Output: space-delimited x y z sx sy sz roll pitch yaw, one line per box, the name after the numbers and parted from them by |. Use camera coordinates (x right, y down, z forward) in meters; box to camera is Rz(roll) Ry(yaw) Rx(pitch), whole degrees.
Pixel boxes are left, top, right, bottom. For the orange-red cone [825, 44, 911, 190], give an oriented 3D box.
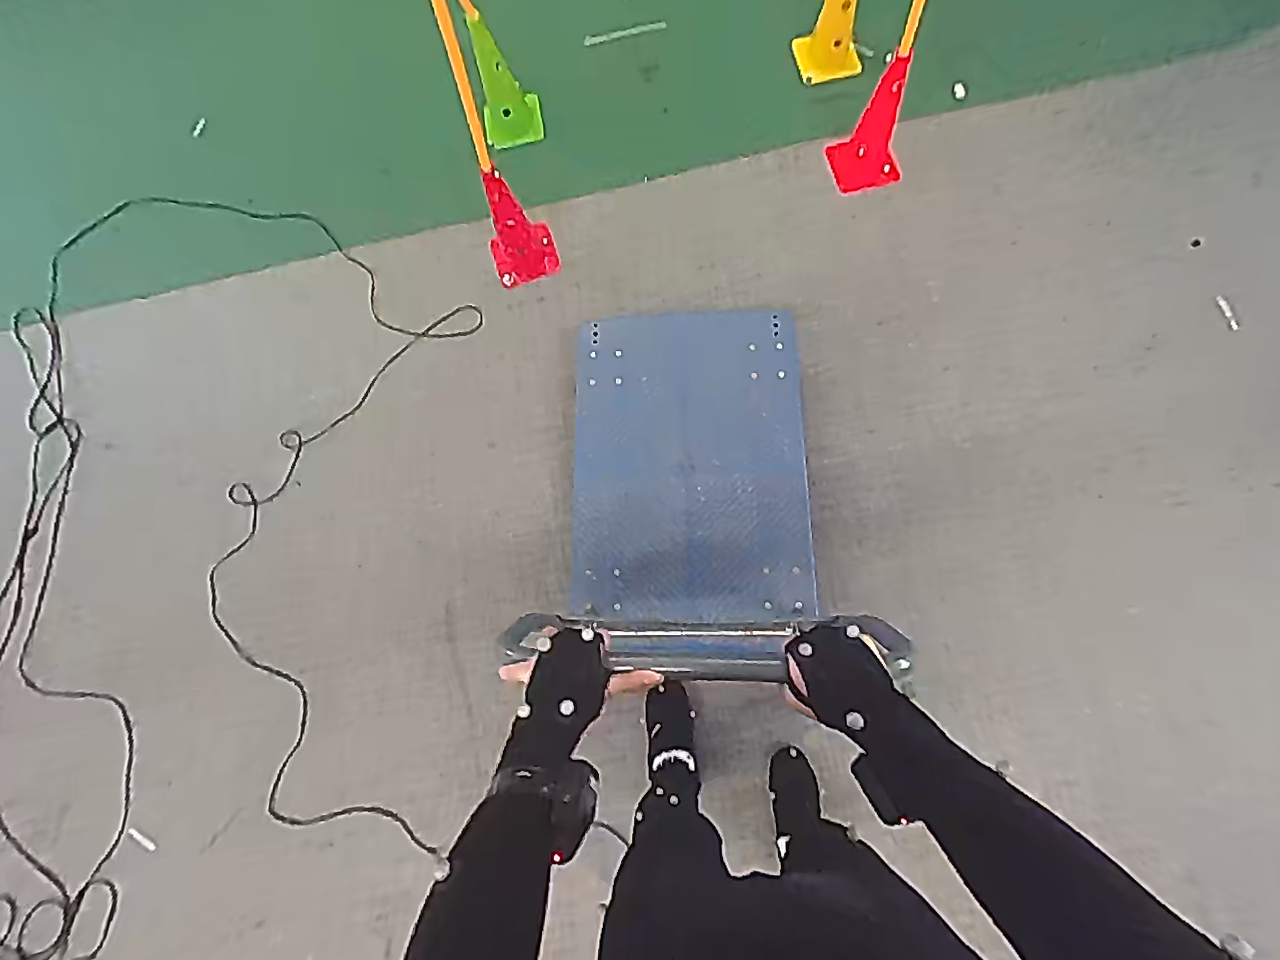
0.690 -1.059 1.556 0.198 0.360 0.199 -12 73 1 | orange-red cone

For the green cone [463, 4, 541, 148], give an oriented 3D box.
-0.465 -1.296 1.715 0.200 0.368 0.202 -12 74 2 | green cone
